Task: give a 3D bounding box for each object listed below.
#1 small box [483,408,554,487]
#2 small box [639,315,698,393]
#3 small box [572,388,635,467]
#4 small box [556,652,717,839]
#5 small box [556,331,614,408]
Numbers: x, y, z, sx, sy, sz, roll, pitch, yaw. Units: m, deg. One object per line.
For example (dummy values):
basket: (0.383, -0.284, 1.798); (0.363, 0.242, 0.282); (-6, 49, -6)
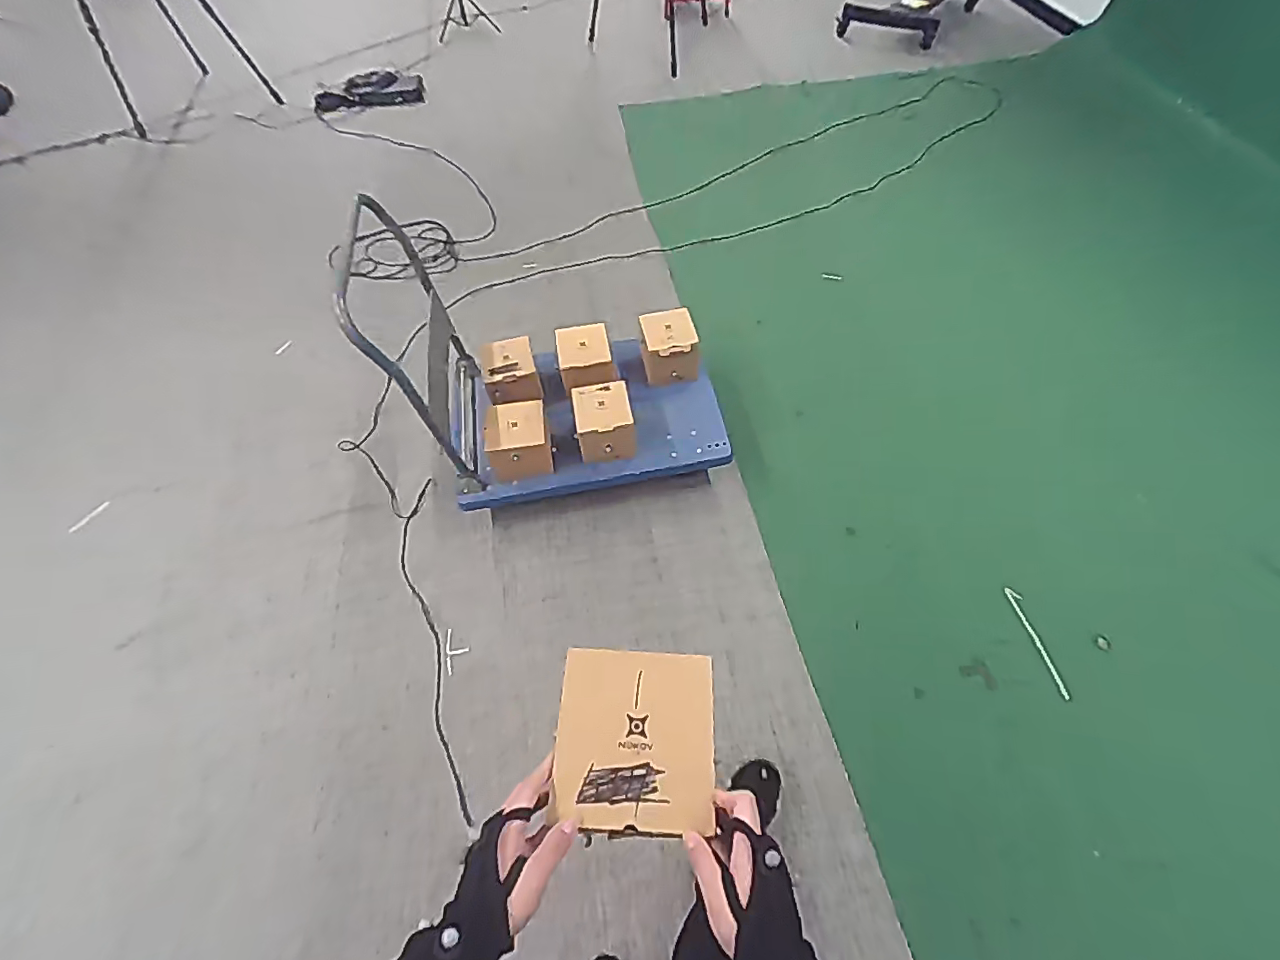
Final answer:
small box: (-0.363, -0.094, 1.632); (0.179, 0.176, 0.168); (-7, 58, -3)
small box: (0.094, -0.421, 1.817); (0.168, 0.176, 0.179); (-11, 58, -3)
small box: (-0.110, -0.153, 1.657); (0.168, 0.176, 0.179); (-9, 58, -4)
small box: (0.000, 0.321, 0.648); (0.168, 0.176, 0.179); (4, 56, 0)
small box: (-0.180, -0.365, 1.798); (0.168, 0.176, 0.179); (-10, 60, -4)
